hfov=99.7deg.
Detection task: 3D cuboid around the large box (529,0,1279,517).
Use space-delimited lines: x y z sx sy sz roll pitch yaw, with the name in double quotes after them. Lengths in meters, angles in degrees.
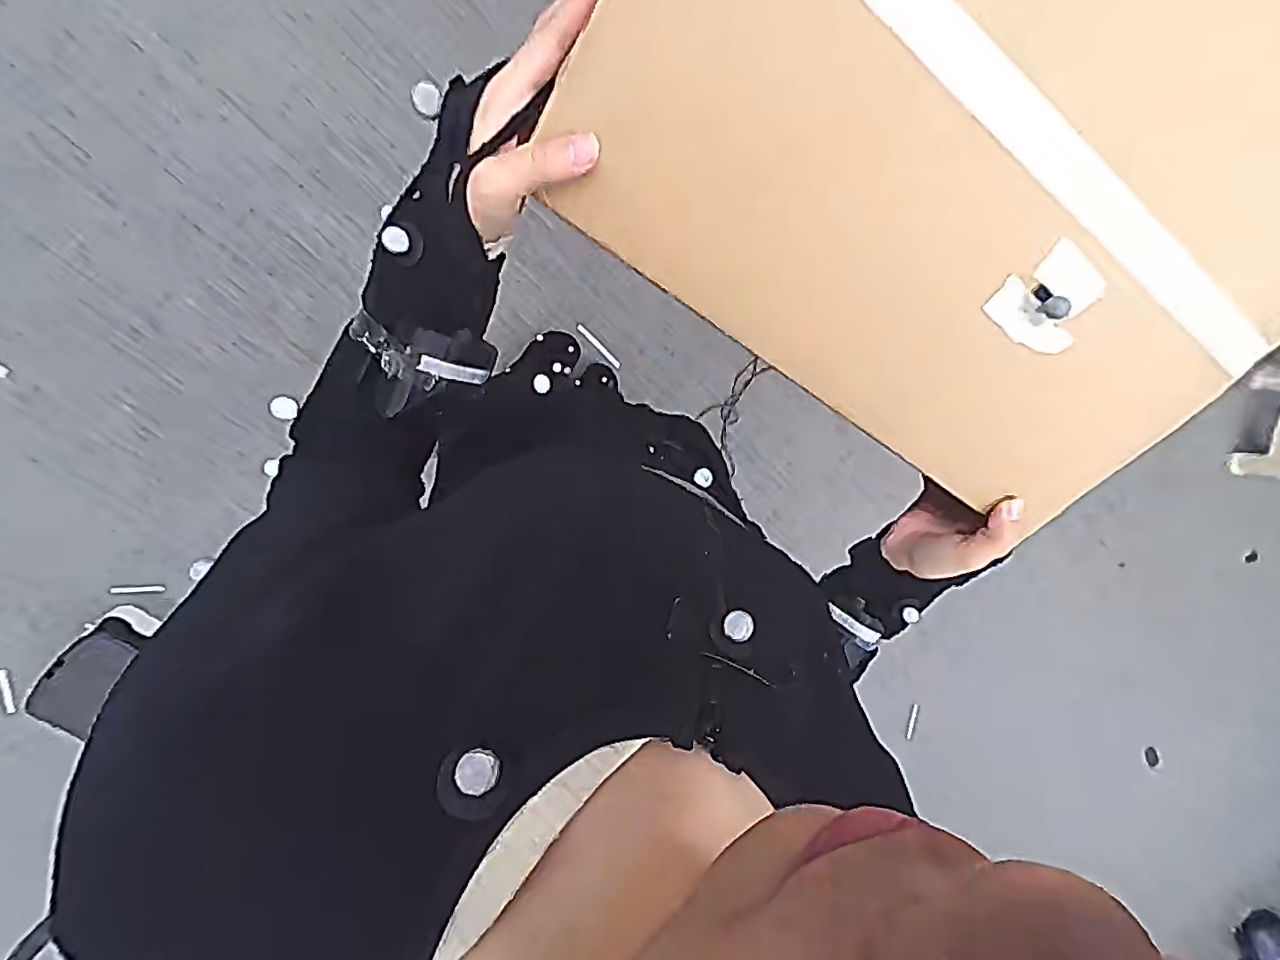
0.182 -0.246 0.394 0.408 0.320 0.320 28 118 -18 "large box"
